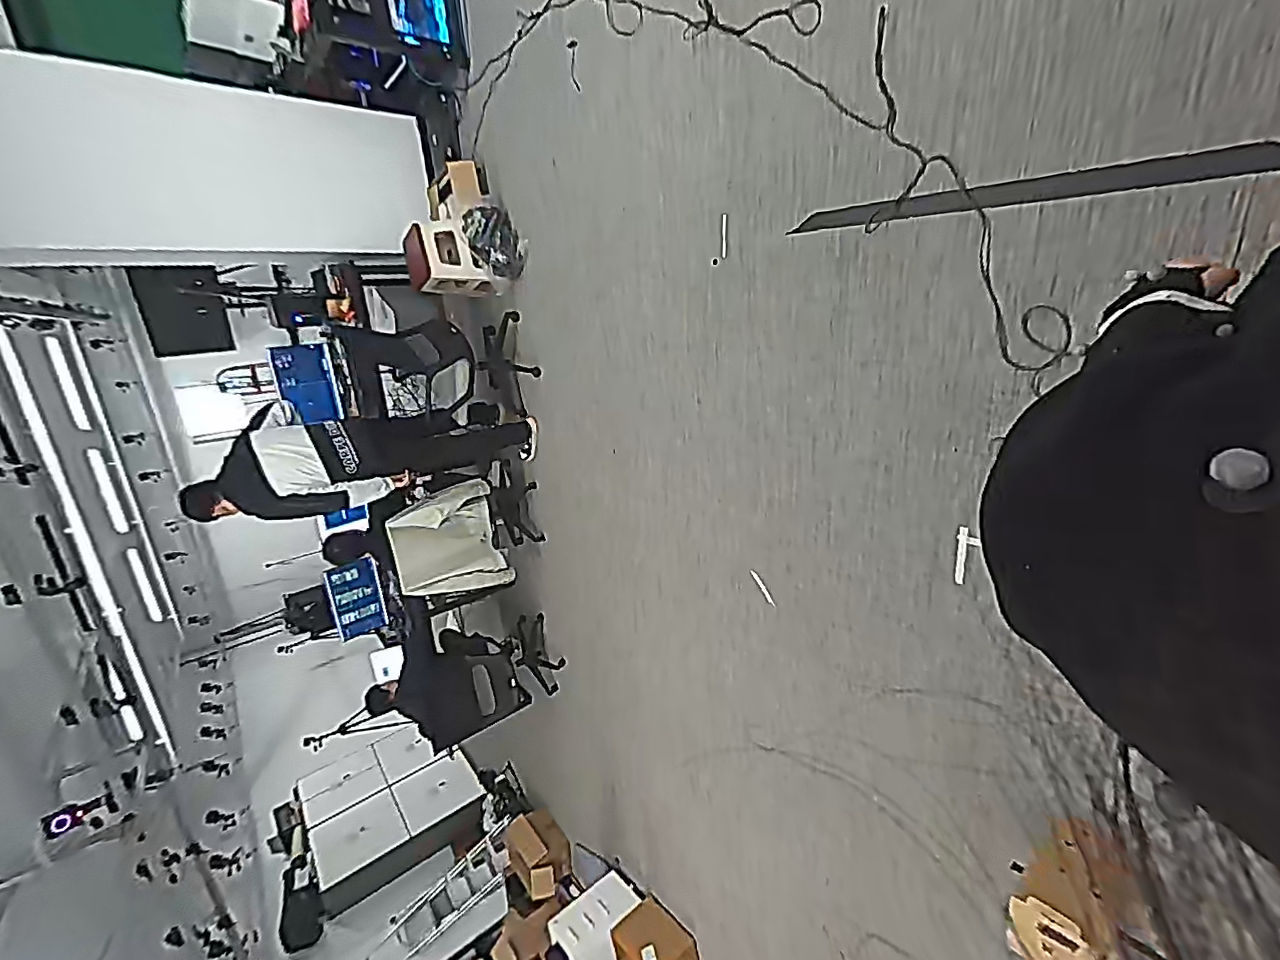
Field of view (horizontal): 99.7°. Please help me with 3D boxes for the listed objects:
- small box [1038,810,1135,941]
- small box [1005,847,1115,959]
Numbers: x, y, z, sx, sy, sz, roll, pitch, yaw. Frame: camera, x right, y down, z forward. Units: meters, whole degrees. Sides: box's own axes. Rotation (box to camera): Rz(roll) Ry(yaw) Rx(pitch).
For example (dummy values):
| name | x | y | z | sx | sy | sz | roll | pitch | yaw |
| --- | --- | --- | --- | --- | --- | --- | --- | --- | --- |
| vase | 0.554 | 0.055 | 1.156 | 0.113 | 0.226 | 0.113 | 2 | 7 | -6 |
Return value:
| name | x | y | z | sx | sy | sz | roll | pitch | yaw |
| --- | --- | --- | --- | --- | --- | --- | --- | --- | --- |
| small box | 1.143 | 1.006 | 1.394 | 0.168 | 0.176 | 0.179 | 14 | 116 | 51 |
| small box | 1.012 | 1.045 | 1.303 | 0.168 | 0.176 | 0.179 | 15 | 116 | 51 |
